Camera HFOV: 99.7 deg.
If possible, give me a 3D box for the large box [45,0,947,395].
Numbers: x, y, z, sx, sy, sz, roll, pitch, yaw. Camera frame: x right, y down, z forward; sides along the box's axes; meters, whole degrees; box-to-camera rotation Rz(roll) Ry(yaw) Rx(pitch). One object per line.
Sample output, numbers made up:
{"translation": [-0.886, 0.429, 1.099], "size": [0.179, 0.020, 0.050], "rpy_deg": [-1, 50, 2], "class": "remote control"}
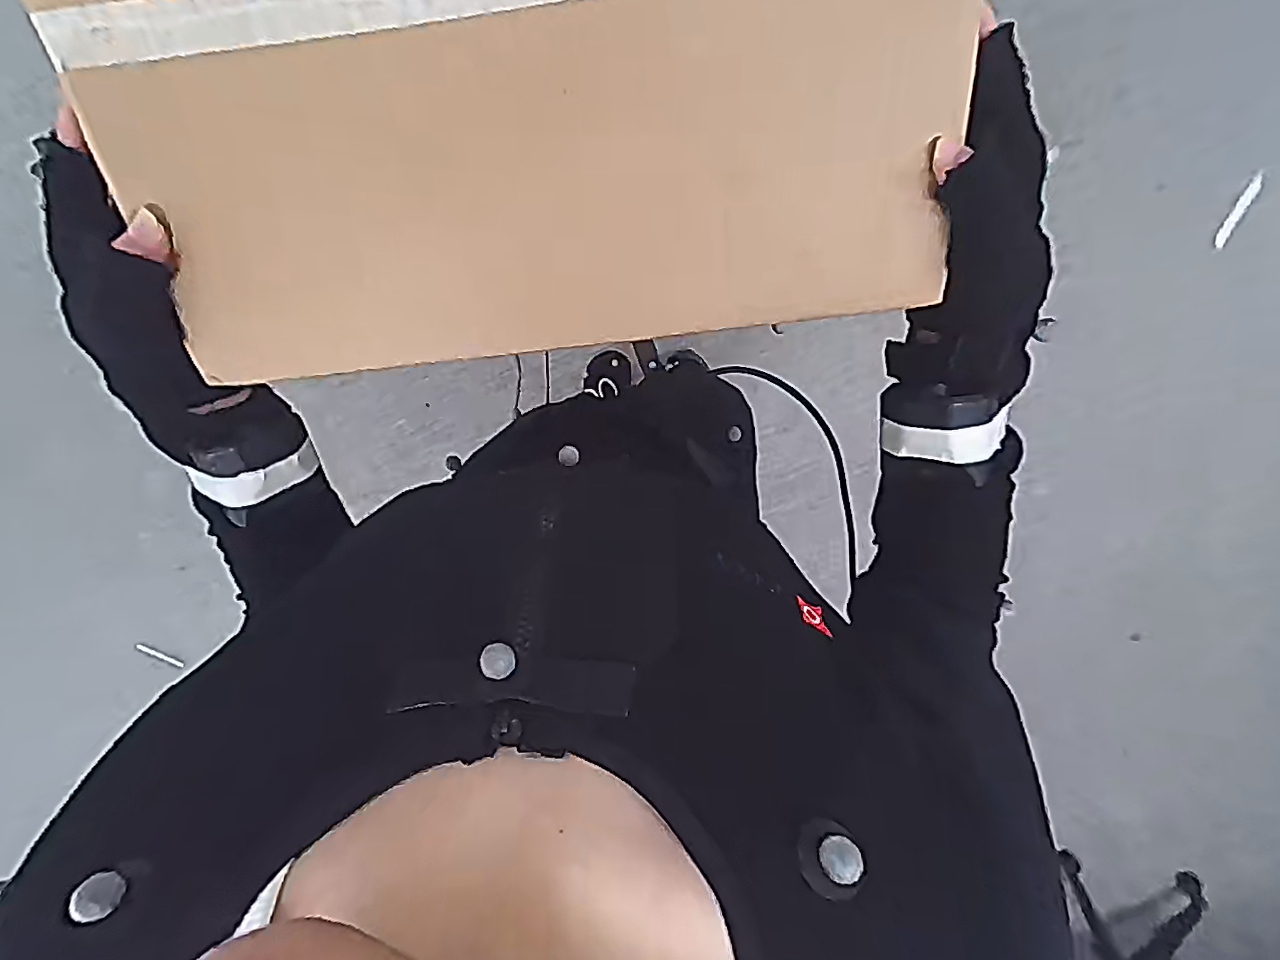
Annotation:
{"translation": [-0.061, -0.276, 0.375], "size": [0.408, 0.320, 0.320], "rpy_deg": [-7, 115, 3], "class": "large box"}
